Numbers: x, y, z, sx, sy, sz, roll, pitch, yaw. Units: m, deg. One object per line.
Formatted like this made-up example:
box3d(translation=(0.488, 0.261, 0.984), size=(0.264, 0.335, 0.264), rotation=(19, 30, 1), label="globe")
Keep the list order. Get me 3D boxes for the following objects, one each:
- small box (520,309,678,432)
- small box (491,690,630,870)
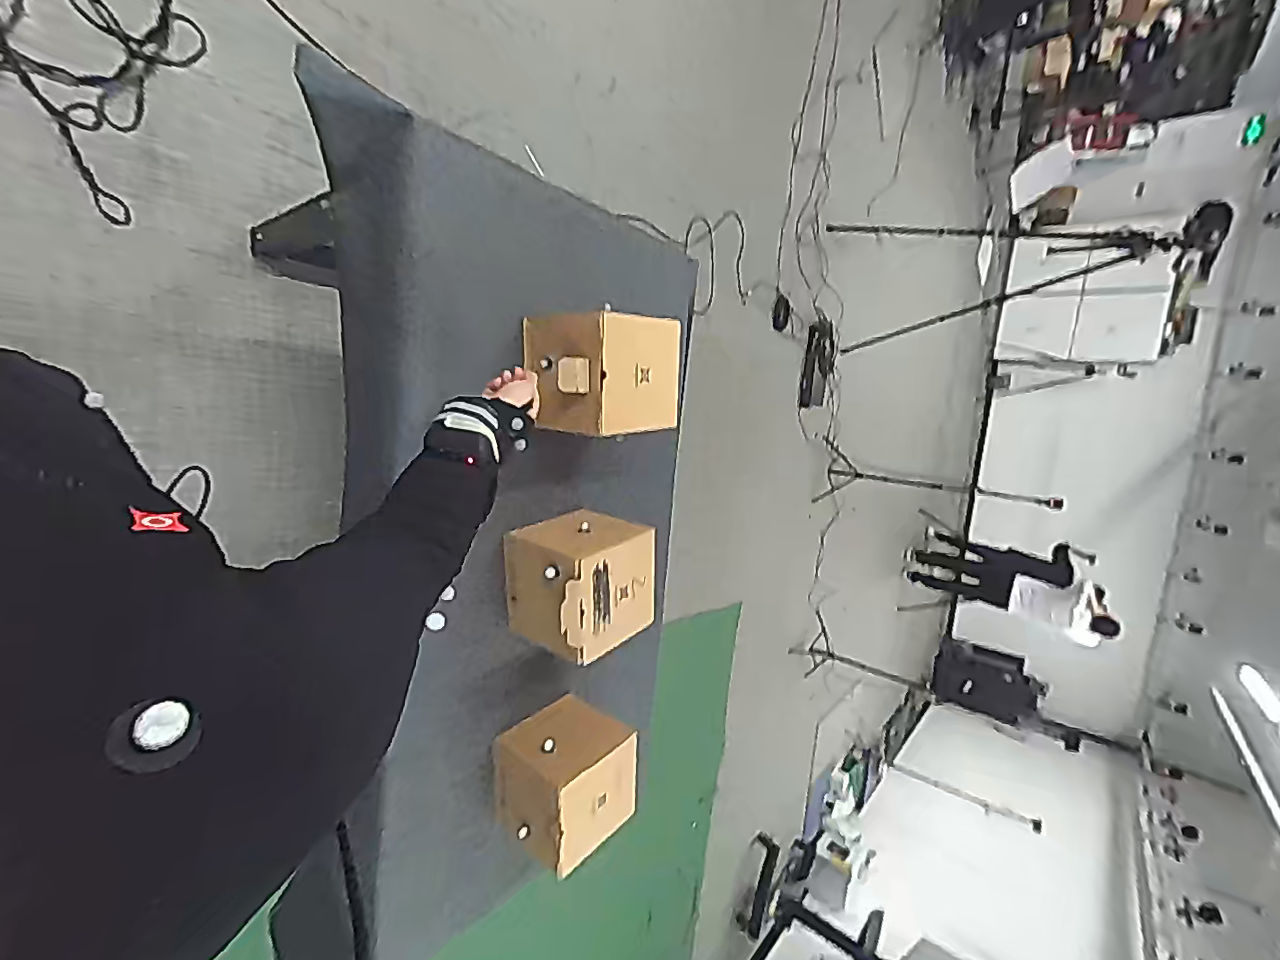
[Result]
box3d(translation=(-0.063, -0.172, 0.834), size=(0.179, 0.176, 0.168), rotation=(-13, 110, -48), label="small box")
box3d(translation=(-0.137, 0.492, 0.917), size=(0.179, 0.176, 0.168), rotation=(-14, 111, -50), label="small box")
